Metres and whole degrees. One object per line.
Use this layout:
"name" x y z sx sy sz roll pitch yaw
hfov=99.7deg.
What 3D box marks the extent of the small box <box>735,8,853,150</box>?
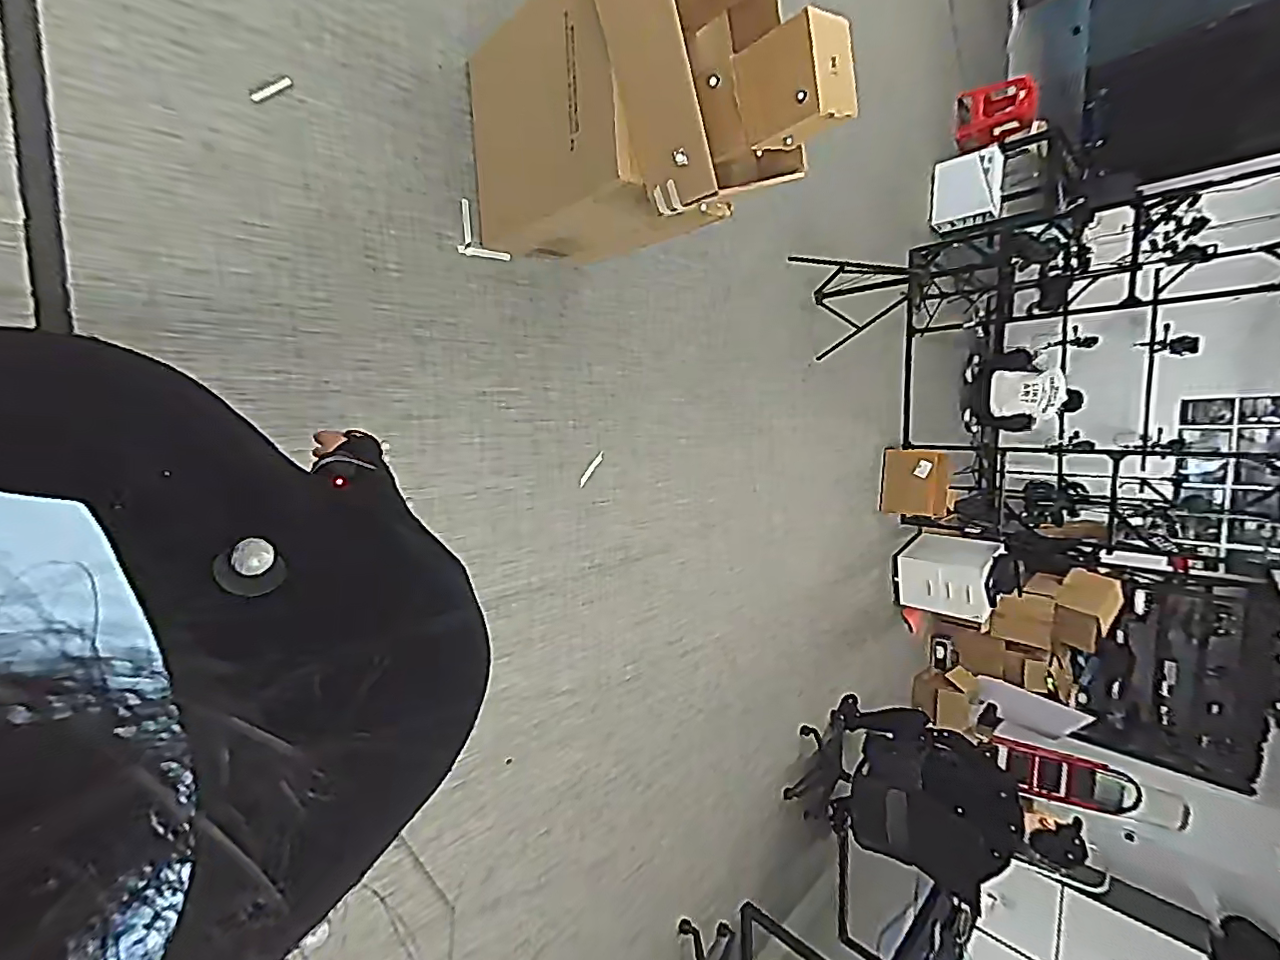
"small box" 0.315 -0.813 1.117 0.168 0.176 0.179 -28 112 -38
